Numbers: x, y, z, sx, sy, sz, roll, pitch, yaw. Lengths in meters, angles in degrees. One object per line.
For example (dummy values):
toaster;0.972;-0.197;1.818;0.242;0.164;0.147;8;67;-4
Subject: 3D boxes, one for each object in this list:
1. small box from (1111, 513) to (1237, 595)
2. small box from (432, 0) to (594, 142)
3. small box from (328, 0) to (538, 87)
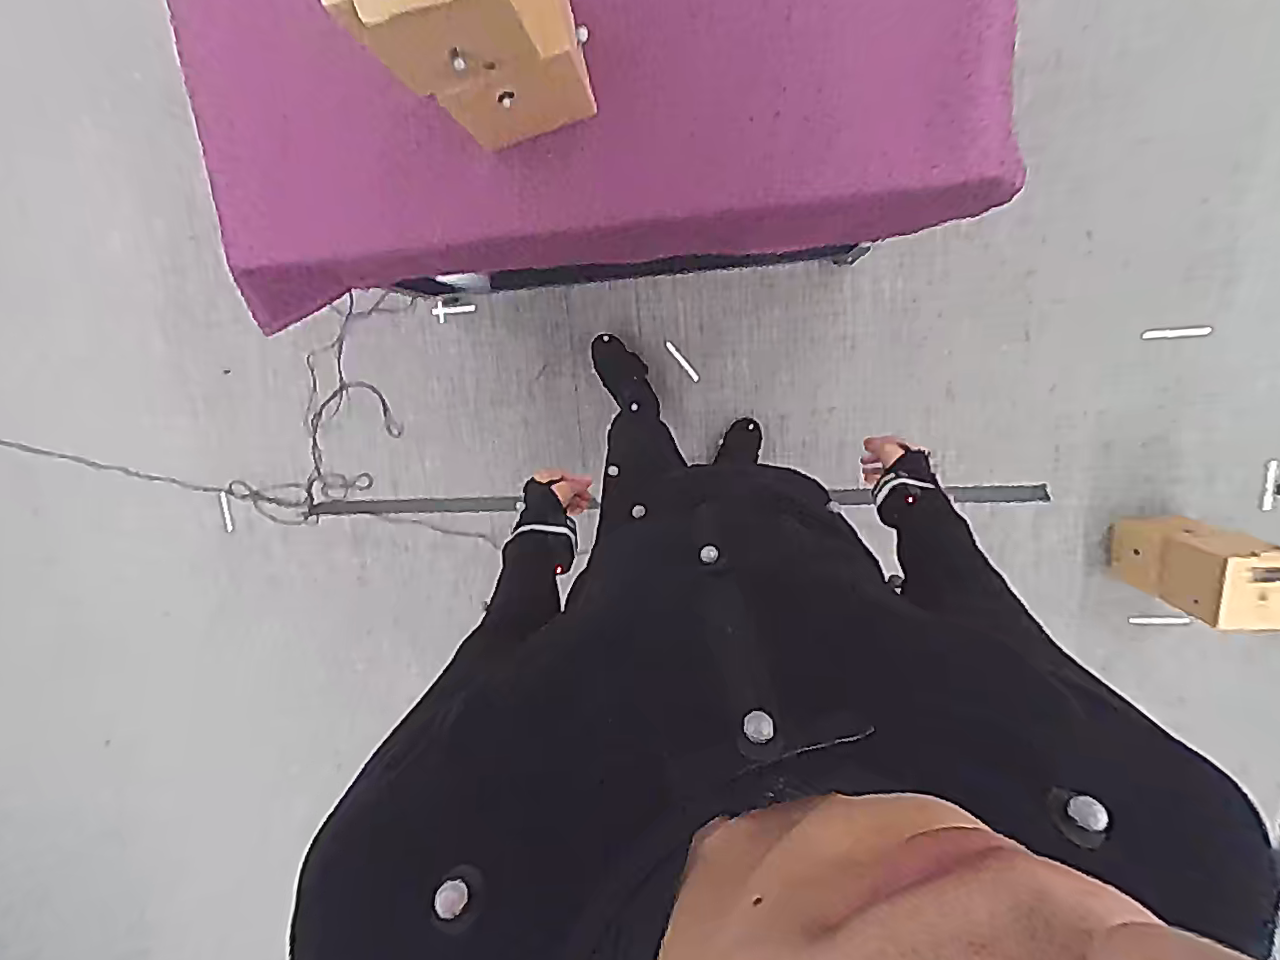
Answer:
small box;1.392;0.191;1.423;0.179;0.176;0.168;-6;101;8
small box;-0.176;-0.580;0.706;0.179;0.176;0.168;-13;100;9
small box;-0.219;-0.551;0.548;0.168;0.176;0.179;-8;101;10
